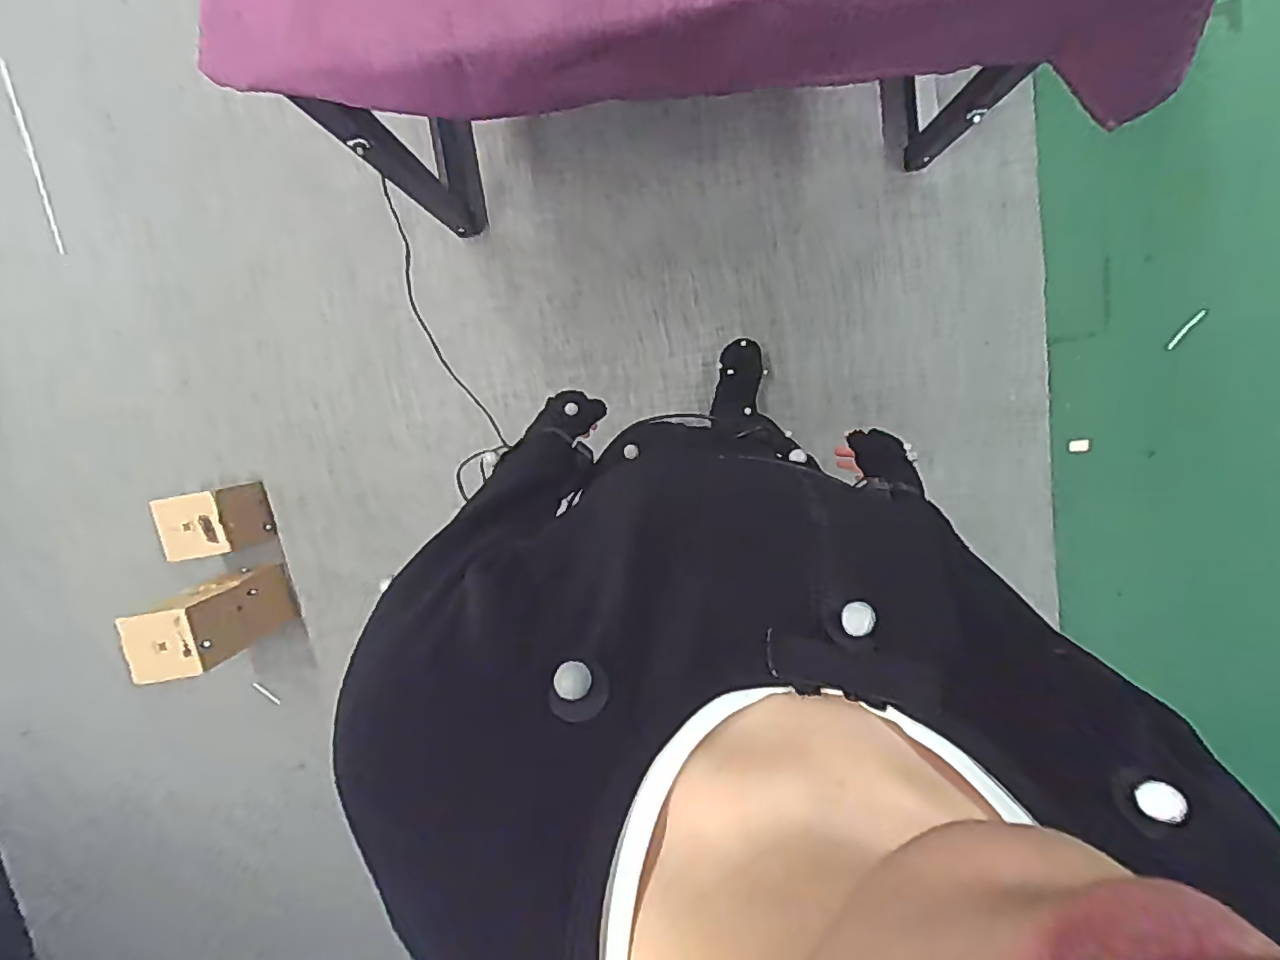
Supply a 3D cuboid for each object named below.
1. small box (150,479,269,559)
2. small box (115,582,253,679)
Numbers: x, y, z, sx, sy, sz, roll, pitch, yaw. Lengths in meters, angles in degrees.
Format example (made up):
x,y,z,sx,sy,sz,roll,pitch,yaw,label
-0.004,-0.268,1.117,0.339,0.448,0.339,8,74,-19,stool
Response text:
x,y,z,sx,sy,sz,roll,pitch,yaw,label
-1.135,0.098,1.448,0.179,0.176,0.168,-10,97,4,small box
-1.104,0.362,1.321,0.179,0.176,0.168,-9,98,4,small box
